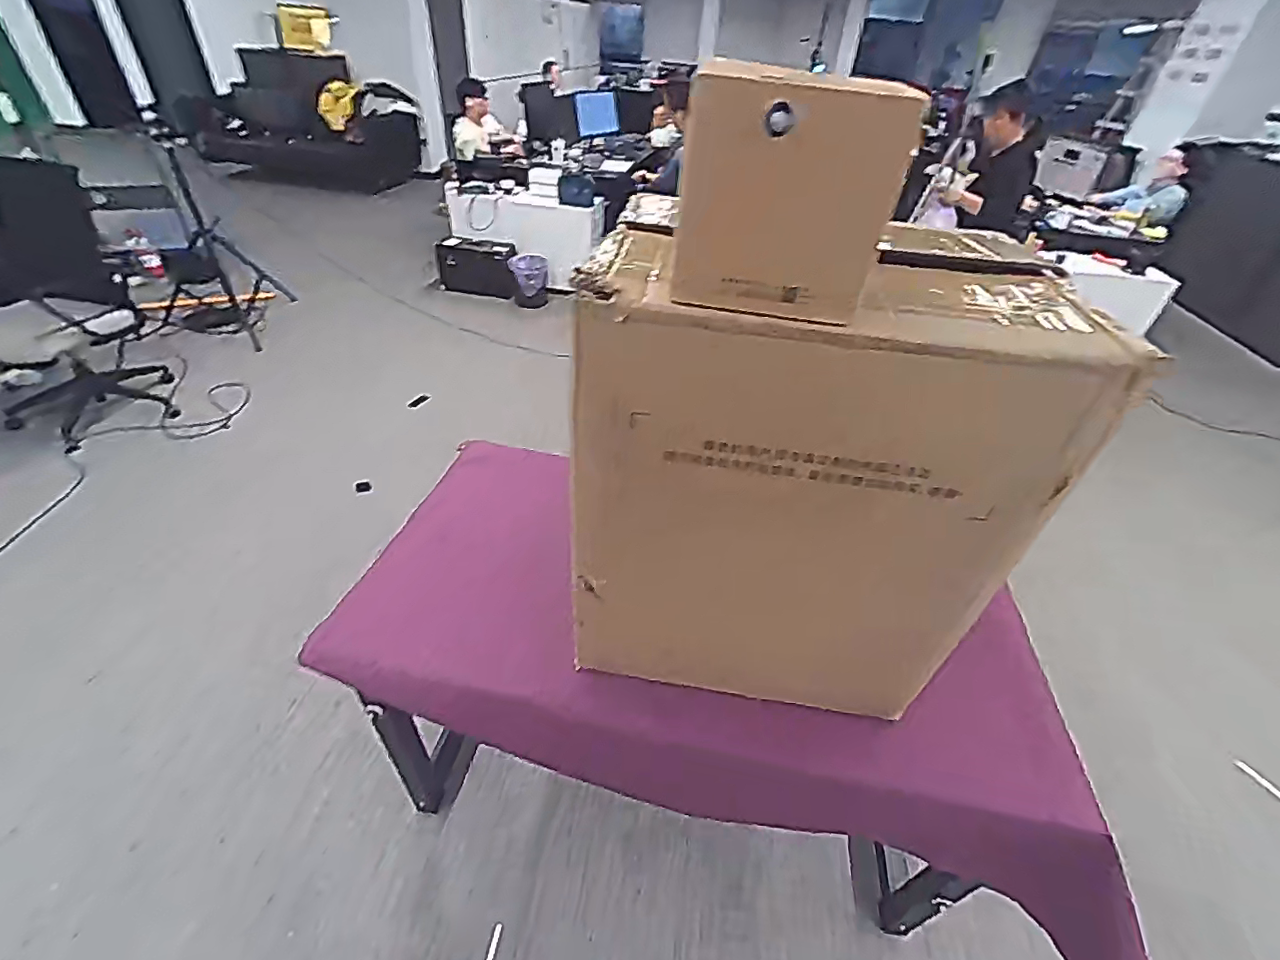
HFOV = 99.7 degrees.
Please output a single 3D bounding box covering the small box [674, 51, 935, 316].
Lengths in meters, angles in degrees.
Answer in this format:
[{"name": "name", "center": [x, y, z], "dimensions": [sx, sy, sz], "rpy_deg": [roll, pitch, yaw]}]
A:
[{"name": "small box", "center": [0.127, -0.268, 0.488], "dimensions": [0.168, 0.176, 0.179], "rpy_deg": [9, 39, 4]}]
